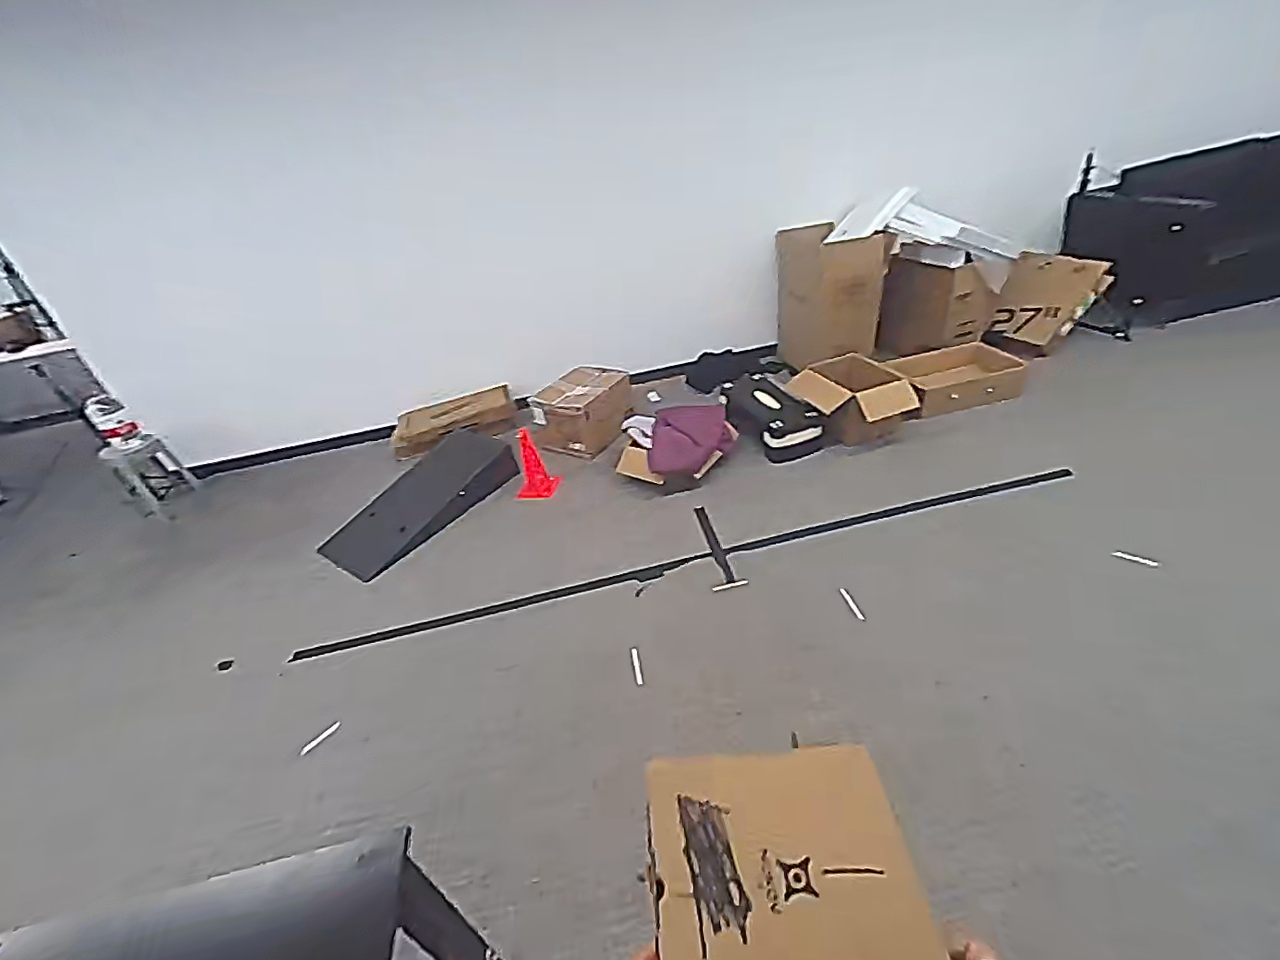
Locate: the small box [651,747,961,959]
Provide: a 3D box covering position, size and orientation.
[{"bbox_3d":[0.105,0.329,0.404,0.179,0.176,0.168,-5,37,-3],"label":"small box"}]
